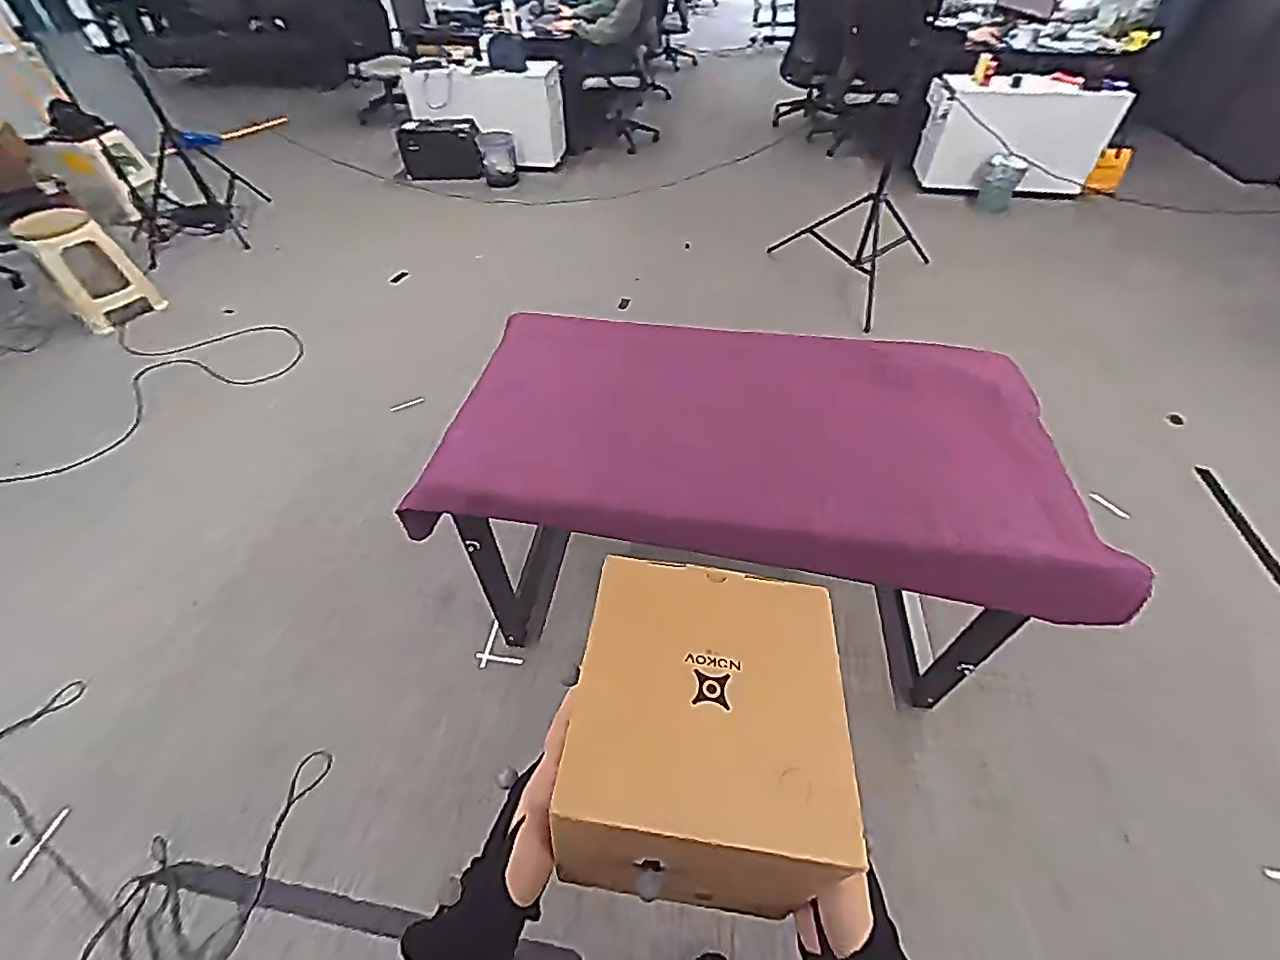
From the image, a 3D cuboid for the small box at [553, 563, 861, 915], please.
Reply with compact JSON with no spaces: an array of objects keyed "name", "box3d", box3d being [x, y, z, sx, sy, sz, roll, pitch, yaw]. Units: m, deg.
[{"name":"small box","box3d":[0.040,0.189,0.397,0.168,0.176,0.179,8,42,2]}]
